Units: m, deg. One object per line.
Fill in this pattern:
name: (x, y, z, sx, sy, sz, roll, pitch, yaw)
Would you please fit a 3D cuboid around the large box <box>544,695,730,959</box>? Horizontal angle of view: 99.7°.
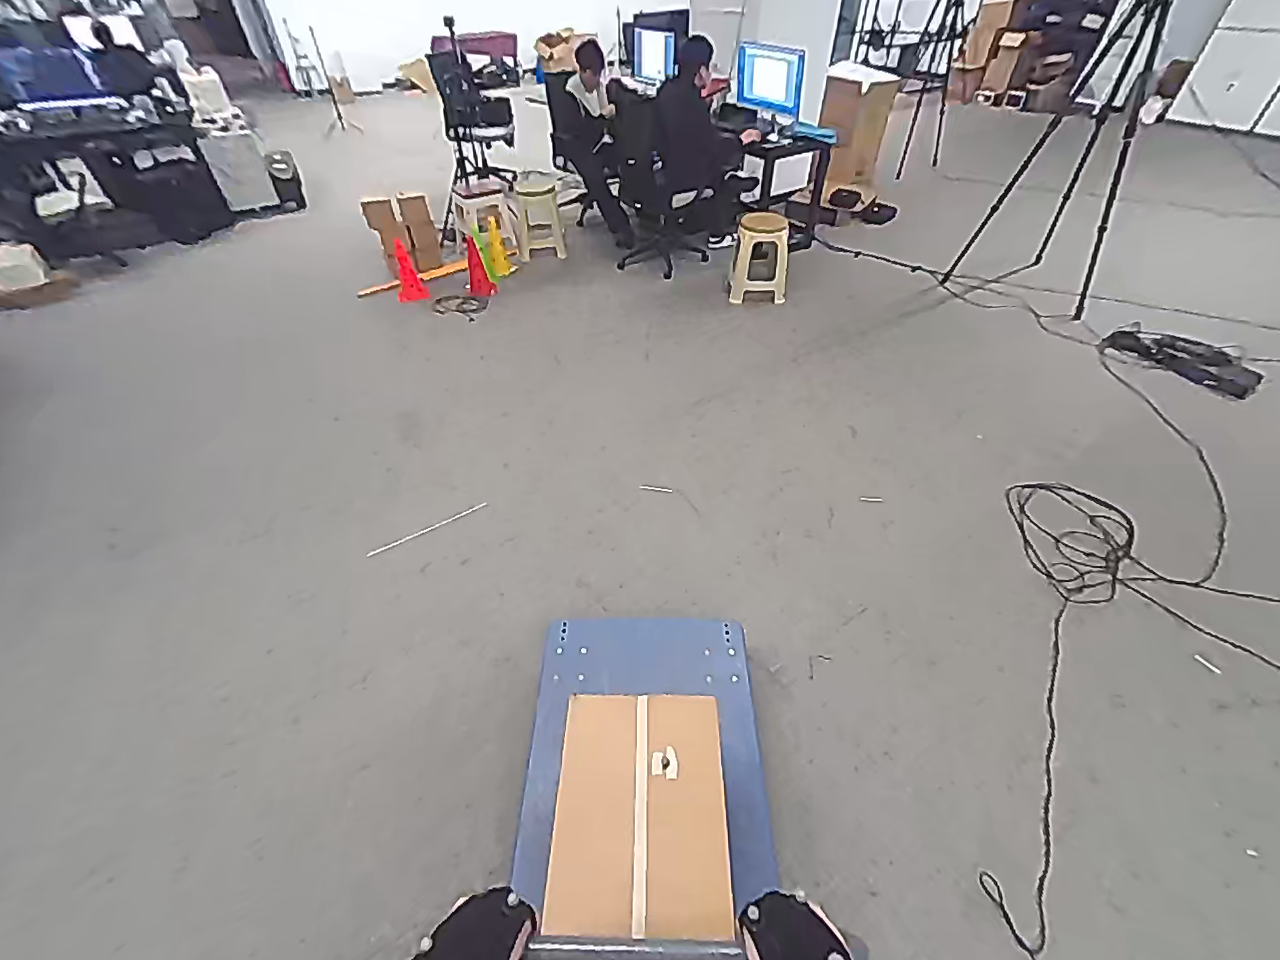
large box: (0.000, 0.711, 1.122, 0.320, 0.320, 0.408, 1, 43, 2)
